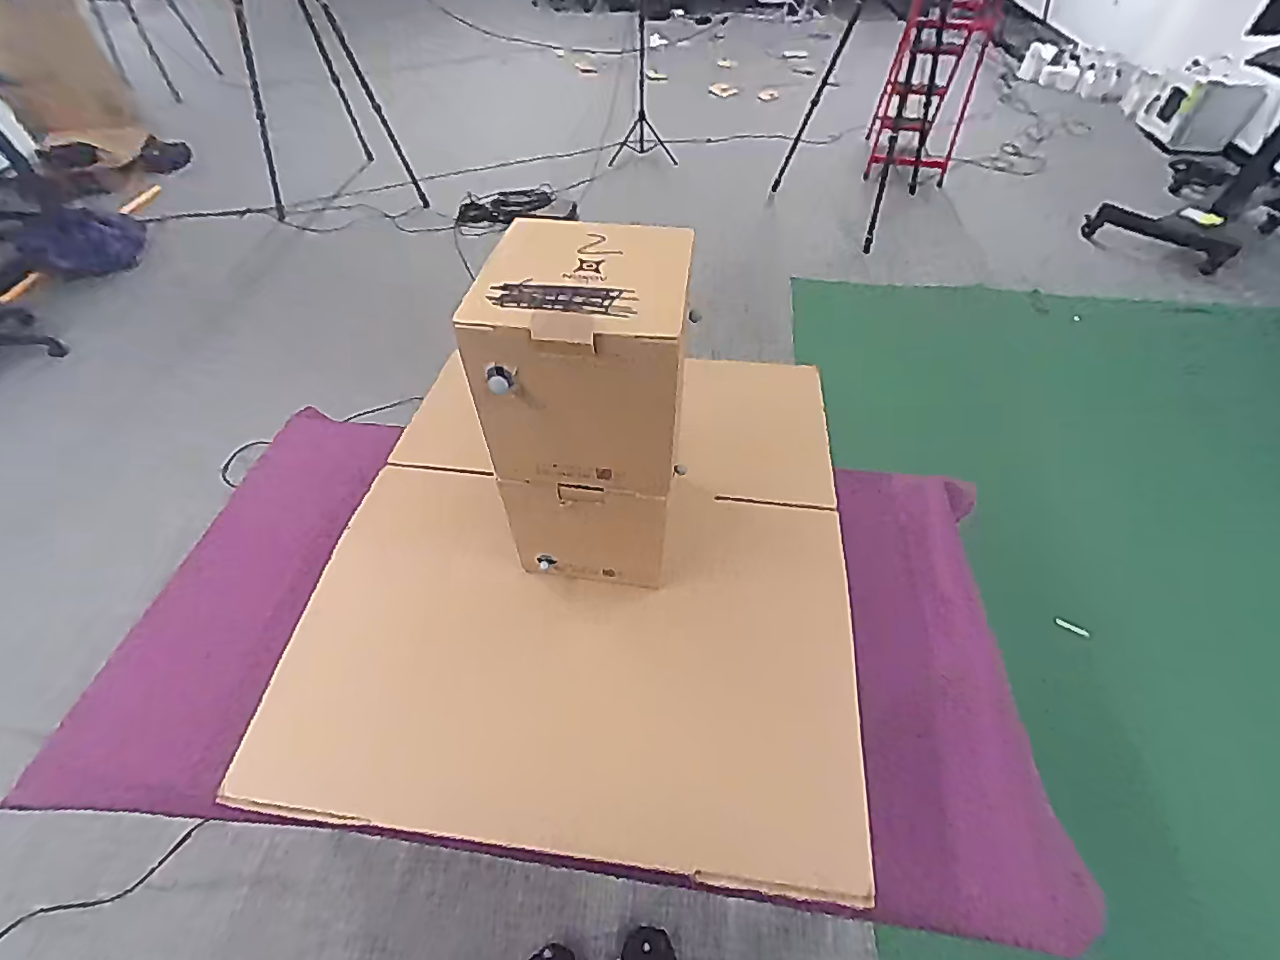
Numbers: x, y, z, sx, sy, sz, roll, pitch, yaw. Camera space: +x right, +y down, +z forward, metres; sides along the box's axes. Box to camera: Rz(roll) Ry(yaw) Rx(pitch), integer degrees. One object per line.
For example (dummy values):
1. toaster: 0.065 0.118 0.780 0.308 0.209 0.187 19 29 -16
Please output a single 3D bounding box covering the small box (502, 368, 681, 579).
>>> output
1. small box: -0.042 -0.004 0.615 0.168 0.176 0.179 4 51 3
